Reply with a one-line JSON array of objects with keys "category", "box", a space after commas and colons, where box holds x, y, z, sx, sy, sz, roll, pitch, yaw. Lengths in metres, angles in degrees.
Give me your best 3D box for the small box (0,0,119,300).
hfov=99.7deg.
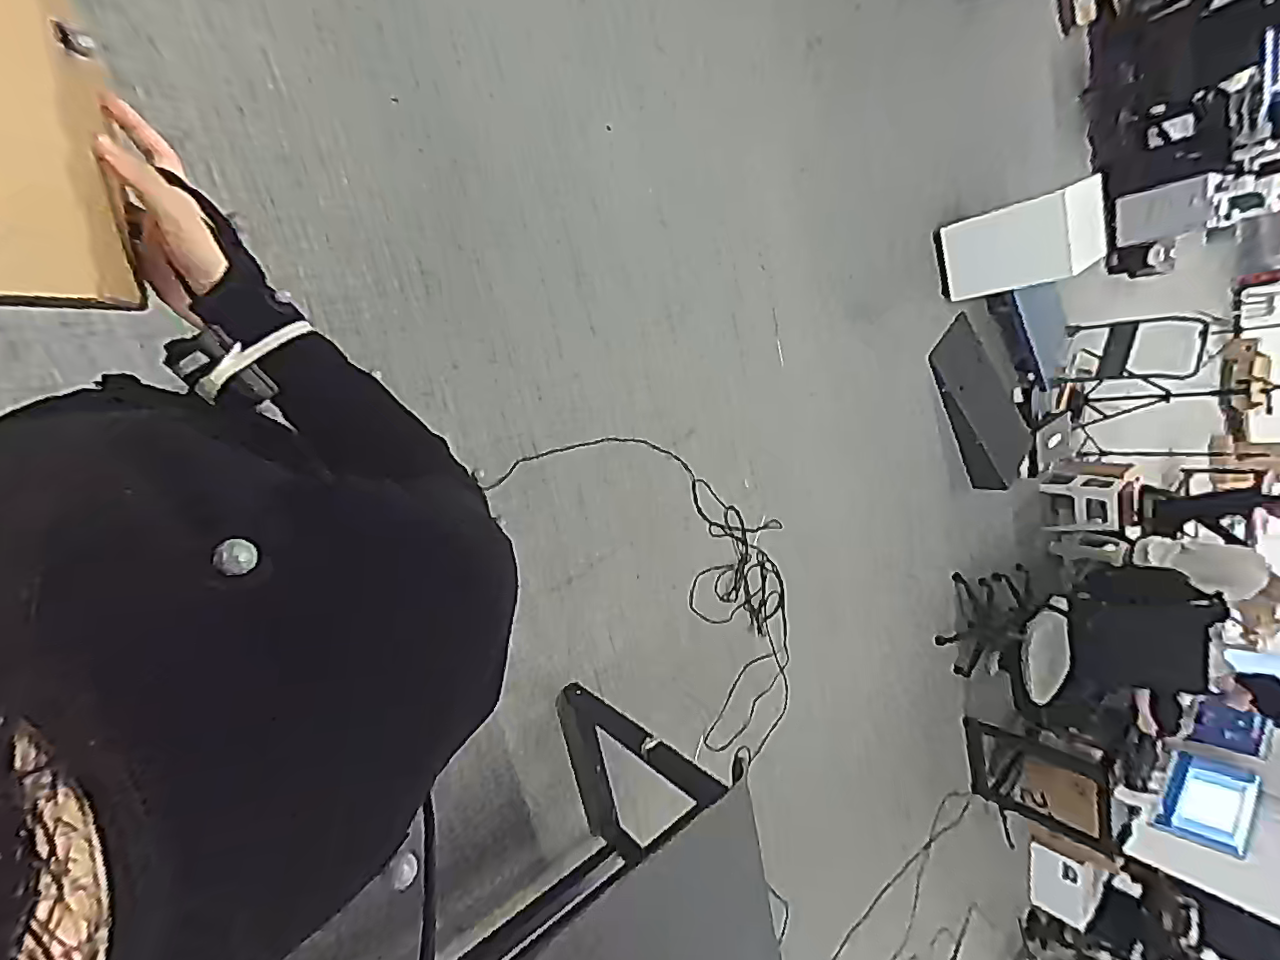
[{"category": "small box", "box": [-0.417, -0.193, 0.287, 0.168, 0.176, 0.179, -9, 107, -33]}]
